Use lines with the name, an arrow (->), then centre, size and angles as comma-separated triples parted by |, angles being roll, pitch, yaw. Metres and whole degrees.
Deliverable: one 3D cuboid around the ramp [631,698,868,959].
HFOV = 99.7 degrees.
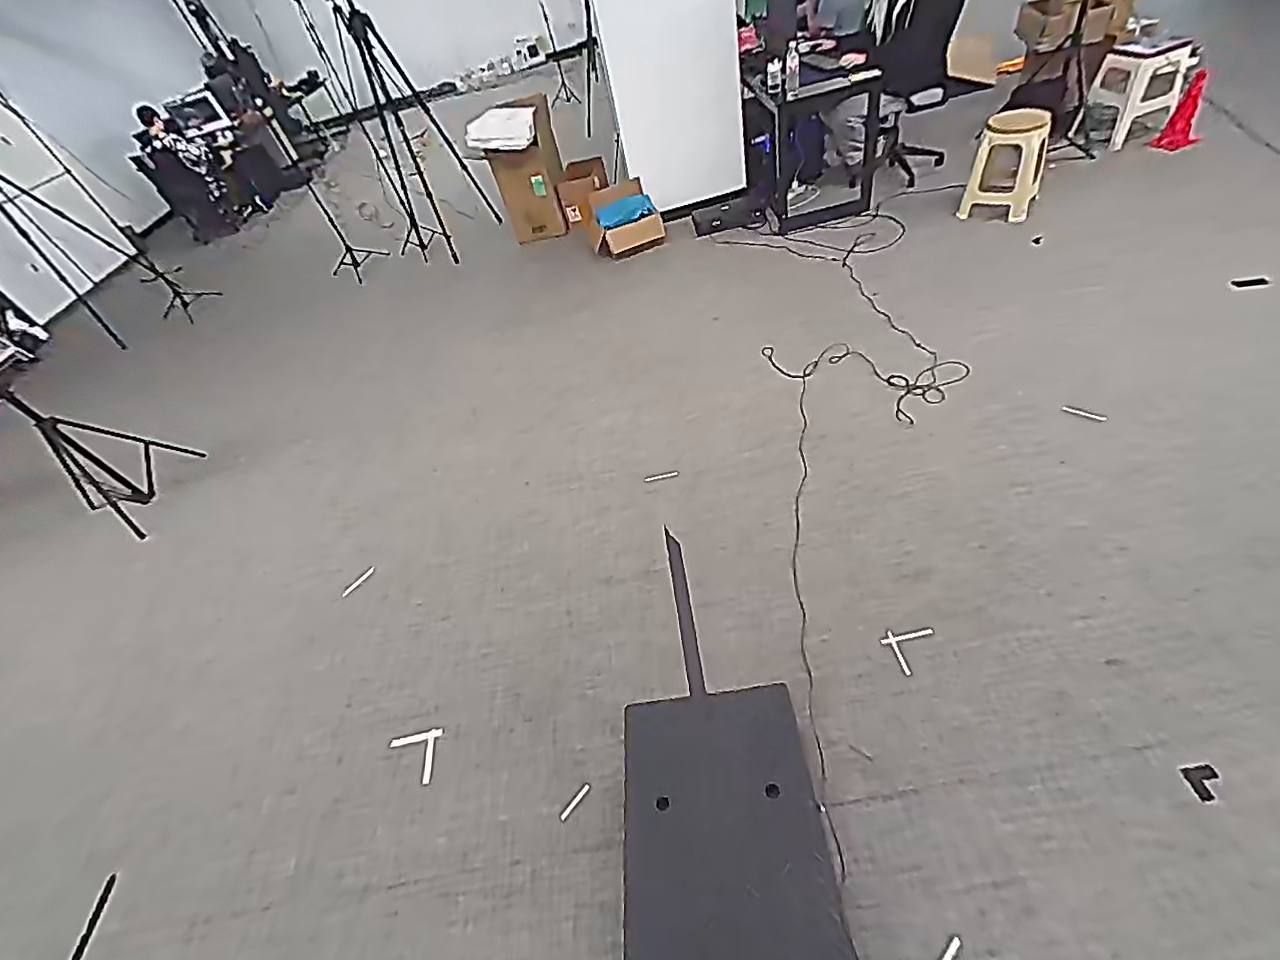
ramp -> 0.224, 0.974, 1.205 | 0.509, 0.206, 0.991 | -14, 44, 6
